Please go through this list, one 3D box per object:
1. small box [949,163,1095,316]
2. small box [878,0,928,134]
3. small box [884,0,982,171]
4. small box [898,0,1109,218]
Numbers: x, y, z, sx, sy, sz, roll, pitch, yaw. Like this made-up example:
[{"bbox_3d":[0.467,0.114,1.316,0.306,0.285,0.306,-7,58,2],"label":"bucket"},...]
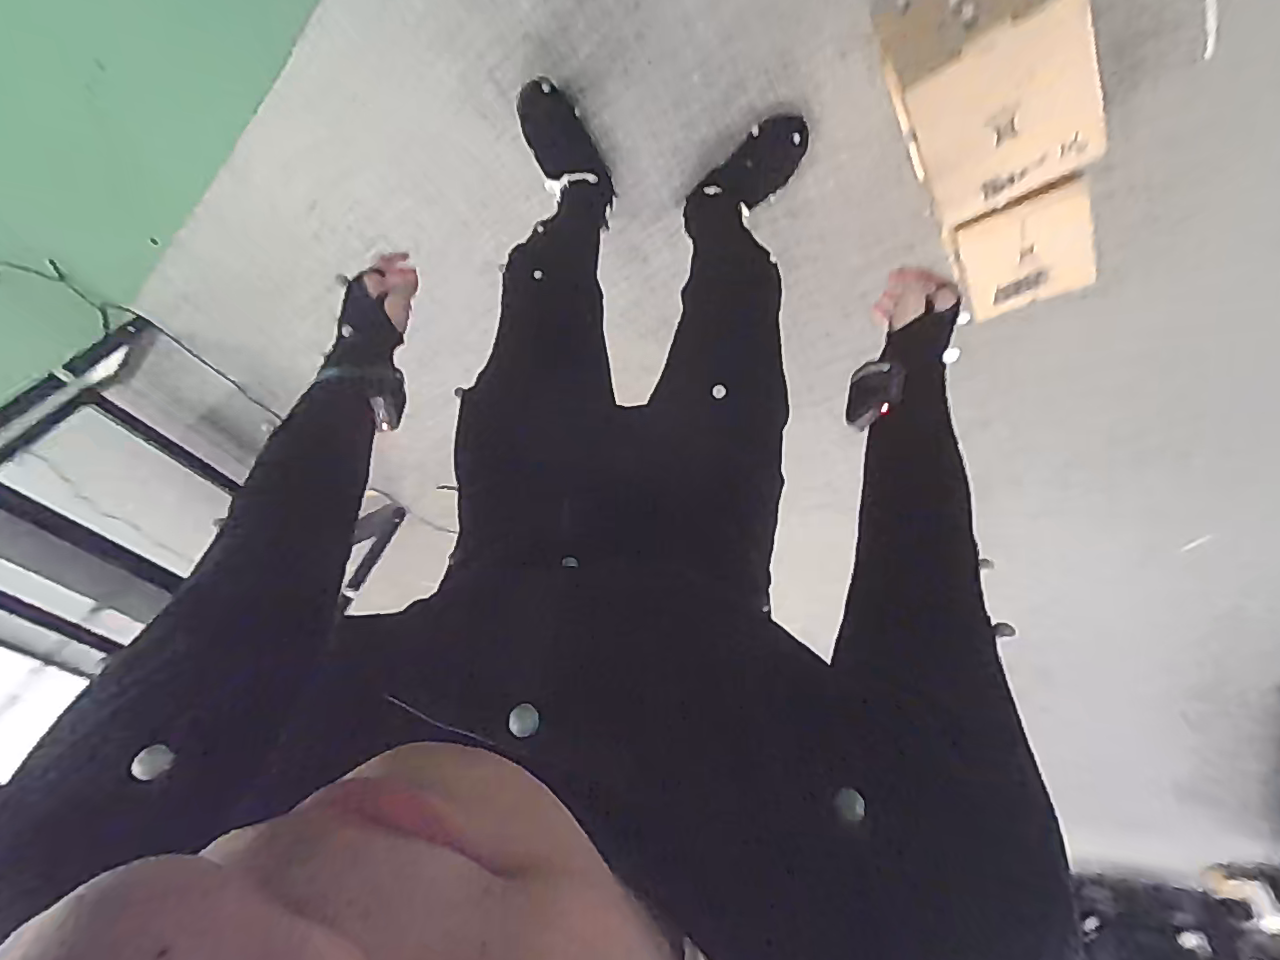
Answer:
[{"bbox_3d":[0.618,-0.410,0.888,0.168,0.176,0.179,-15,130,31],"label":"small box"},{"bbox_3d":[0.490,-0.700,0.857,0.179,0.176,0.168,-15,131,33],"label":"small box"},{"bbox_3d":[0.454,-0.580,0.755,0.179,0.176,0.168,-18,129,34],"label":"small box"},{"bbox_3d":[0.422,-0.461,0.646,0.168,0.176,0.179,-17,129,34],"label":"small box"}]
